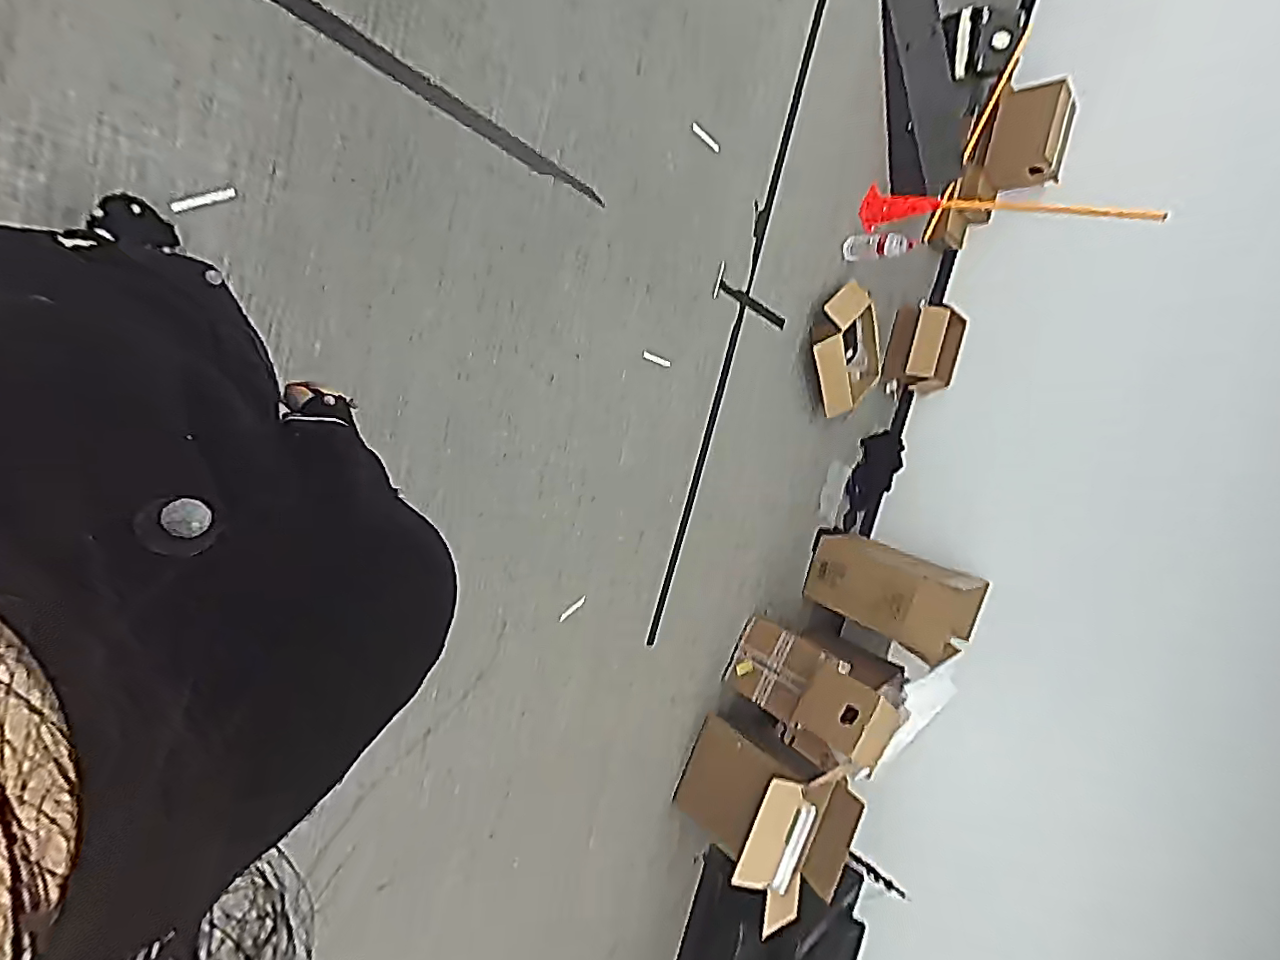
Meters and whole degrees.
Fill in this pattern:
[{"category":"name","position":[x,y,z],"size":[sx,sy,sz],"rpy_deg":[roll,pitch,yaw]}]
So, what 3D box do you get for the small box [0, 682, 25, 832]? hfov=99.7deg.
[{"category":"small box","position":[-1.097,0.450,0.847],"size":[0.168,0.176,0.179],"rpy_deg":[3,102,-46]}]
